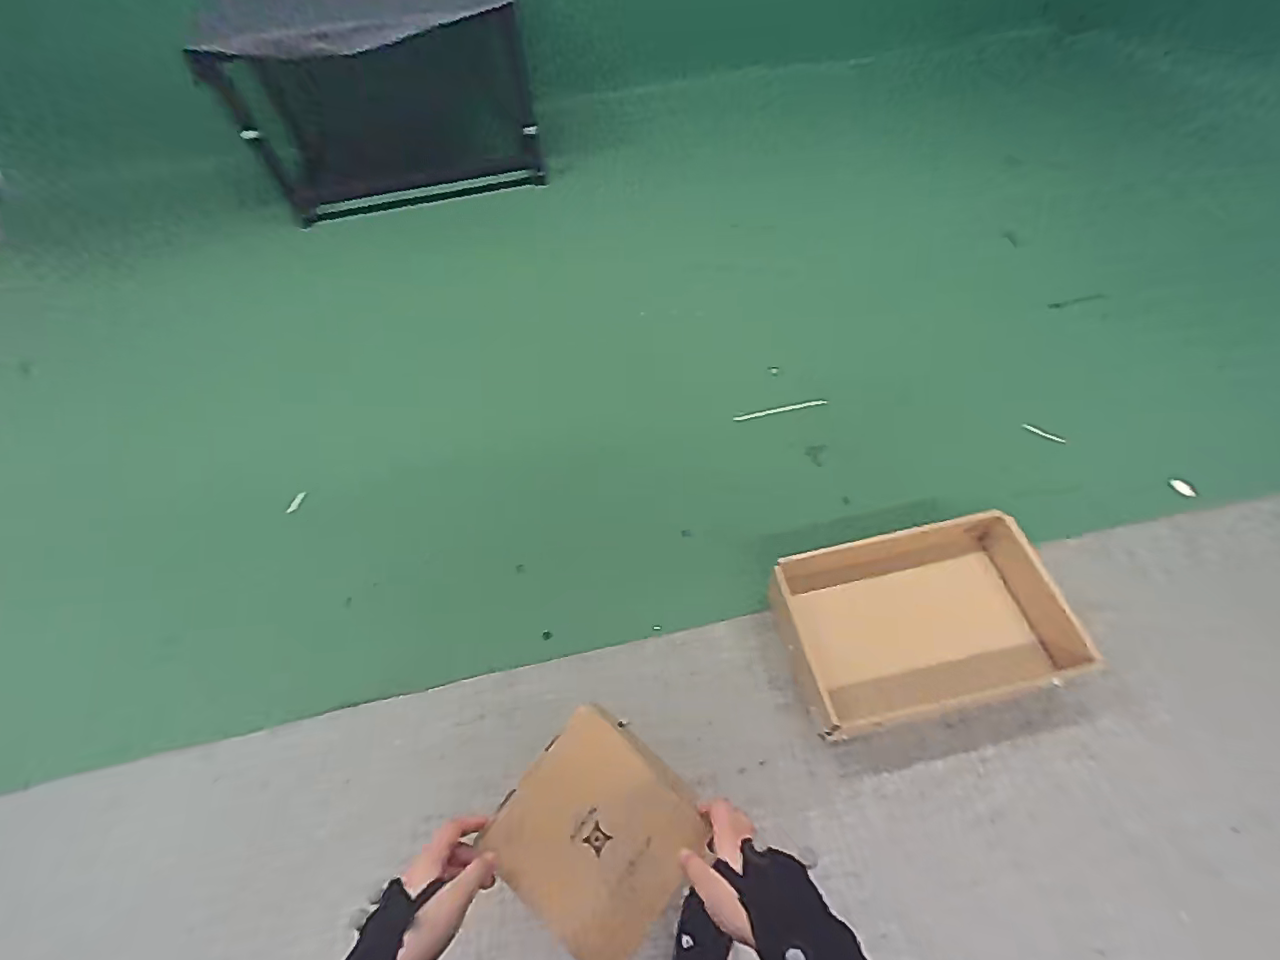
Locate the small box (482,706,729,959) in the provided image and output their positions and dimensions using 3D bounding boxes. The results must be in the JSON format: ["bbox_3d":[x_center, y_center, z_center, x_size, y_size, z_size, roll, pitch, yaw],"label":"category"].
[{"bbox_3d":[-0.031,0.368,0.578,0.179,0.176,0.168,37,74,14],"label":"small box"}]
